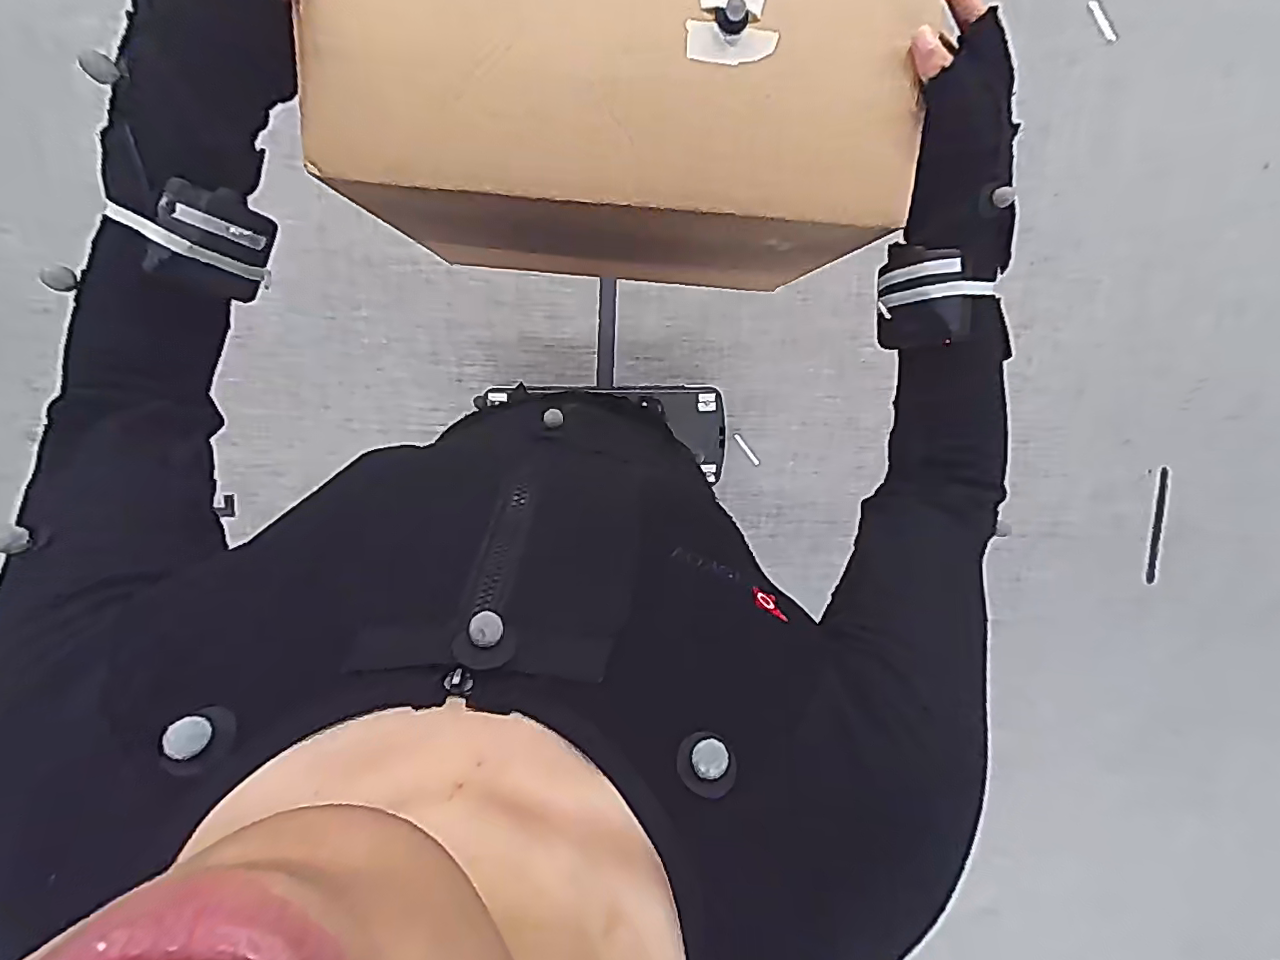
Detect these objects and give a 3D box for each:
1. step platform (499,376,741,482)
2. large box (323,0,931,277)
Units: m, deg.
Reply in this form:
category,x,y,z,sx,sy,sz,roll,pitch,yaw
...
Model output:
category,x,y,z,sx,sy,sz,roll,pitch,yaw
step platform,-0.055,-0.149,1.559,0.684,0.204,0.286,-2,99,-3
large box,-0.011,-0.378,0.490,0.408,0.320,0.320,3,102,-4
